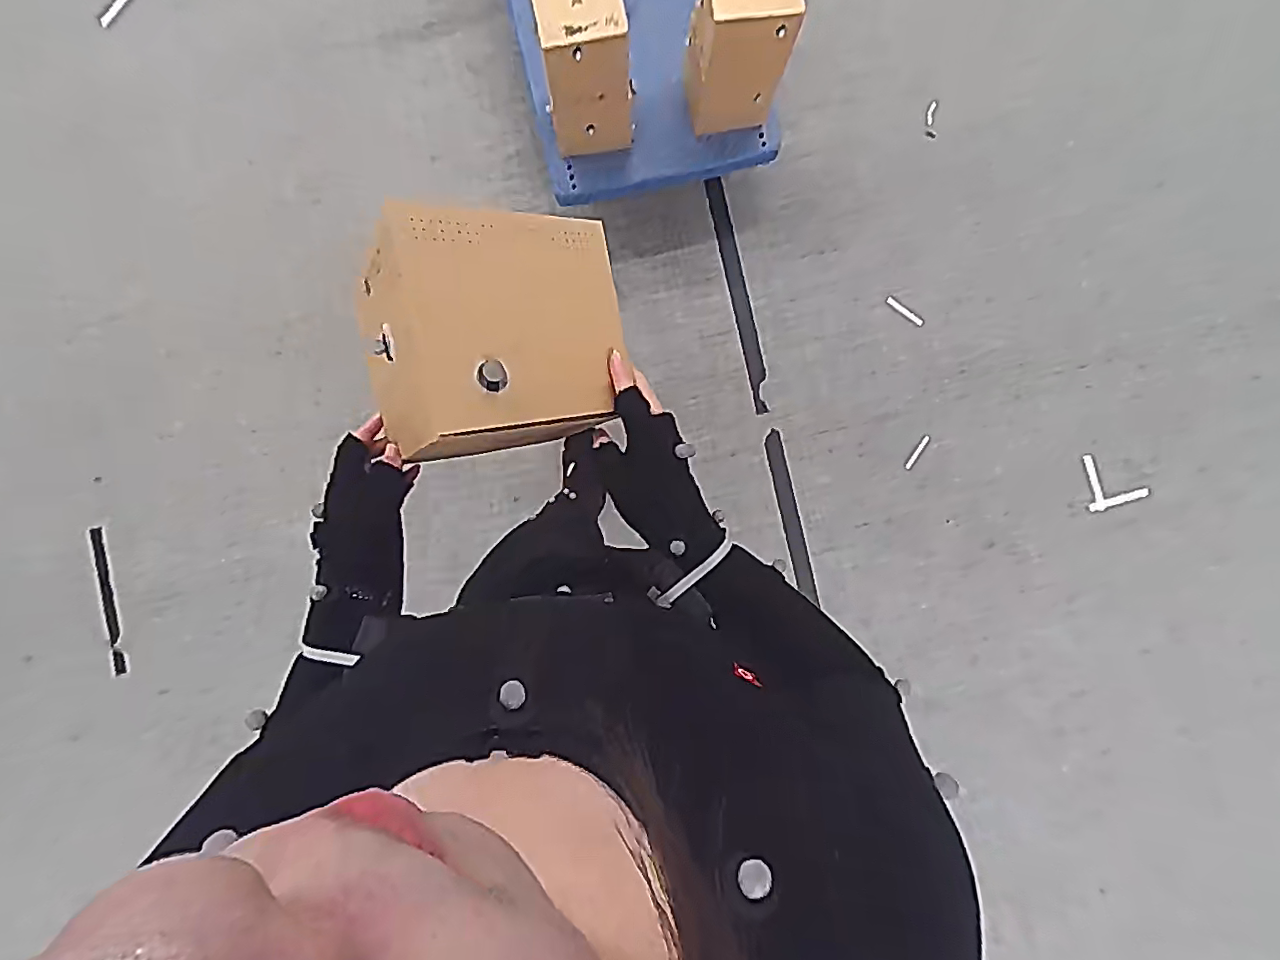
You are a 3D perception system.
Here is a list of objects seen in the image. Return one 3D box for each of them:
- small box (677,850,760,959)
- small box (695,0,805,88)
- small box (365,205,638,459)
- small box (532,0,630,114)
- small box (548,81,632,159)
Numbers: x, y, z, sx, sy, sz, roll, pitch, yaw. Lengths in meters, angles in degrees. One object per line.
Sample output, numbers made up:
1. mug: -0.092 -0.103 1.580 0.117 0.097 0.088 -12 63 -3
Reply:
1. small box: 0.197 1.107 1.392 0.168 0.176 0.179 -12 88 -2
2. small box: 0.210 -0.928 1.085 0.179 0.176 0.168 -7 88 -2
3. small box: -0.130 -0.122 0.485 0.179 0.168 0.176 -13 93 -35
4. small box: -0.117 -0.879 1.074 0.168 0.176 0.179 -12 88 -1
5. small box: -0.116 -0.873 1.239 0.179 0.176 0.168 -9 88 -1
